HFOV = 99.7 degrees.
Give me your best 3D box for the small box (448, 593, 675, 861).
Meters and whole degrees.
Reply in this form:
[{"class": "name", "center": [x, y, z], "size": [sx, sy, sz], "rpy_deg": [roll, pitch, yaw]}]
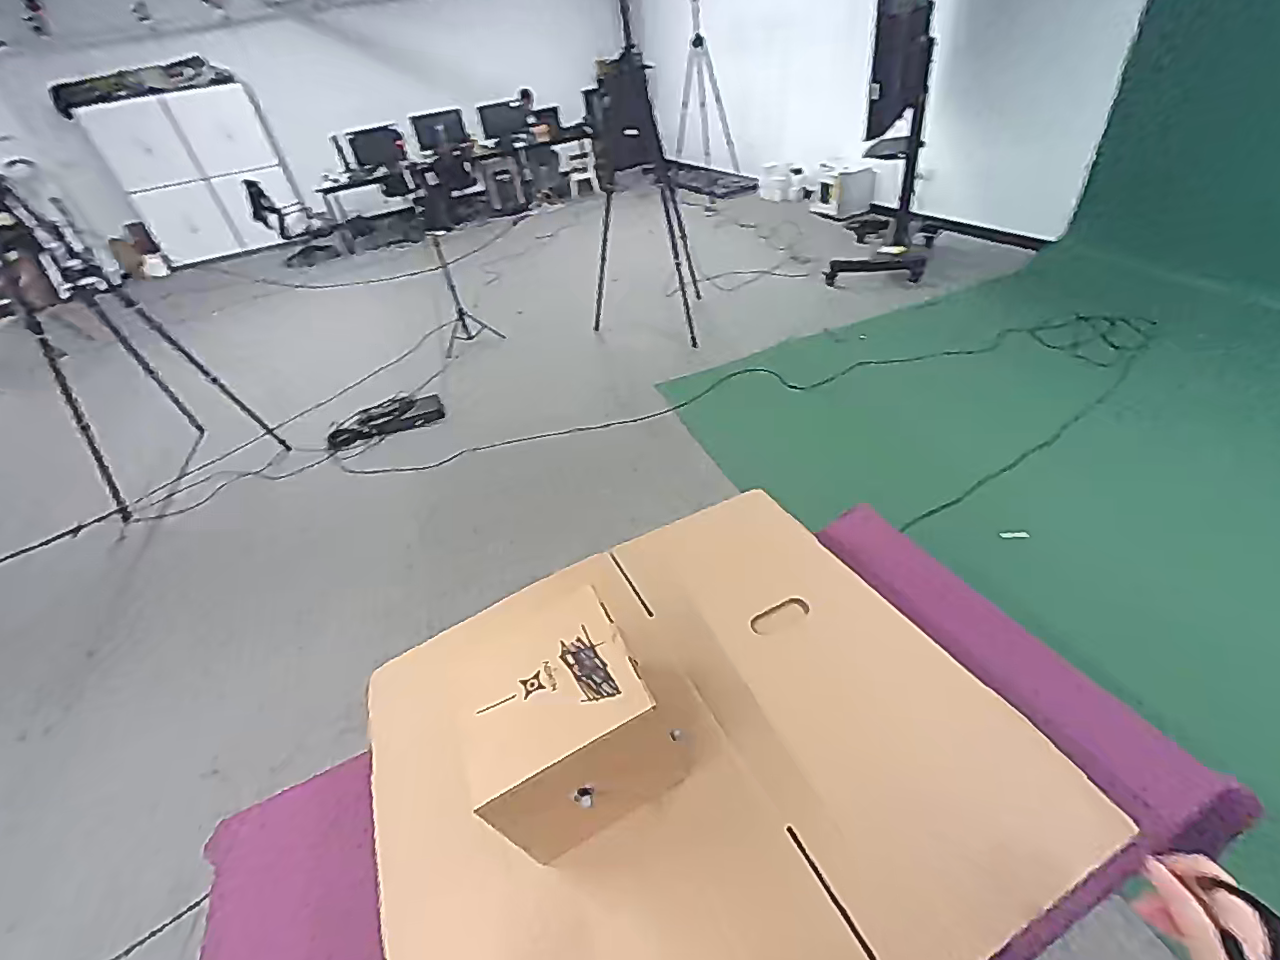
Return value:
[{"class": "small box", "center": [-0.076, 0.262, 0.580], "size": [0.179, 0.176, 0.168], "rpy_deg": [-28, 41, -9]}]
